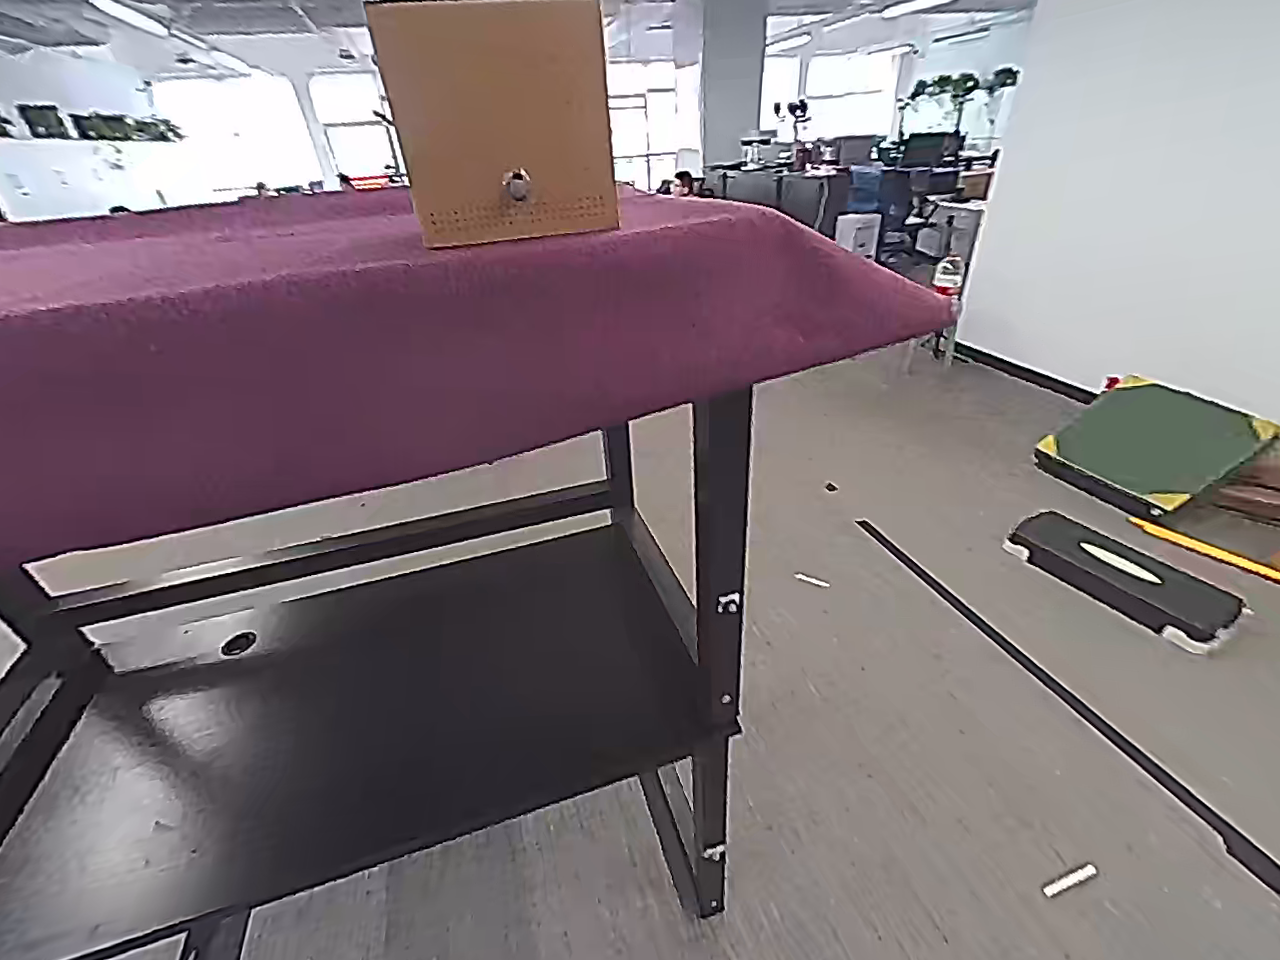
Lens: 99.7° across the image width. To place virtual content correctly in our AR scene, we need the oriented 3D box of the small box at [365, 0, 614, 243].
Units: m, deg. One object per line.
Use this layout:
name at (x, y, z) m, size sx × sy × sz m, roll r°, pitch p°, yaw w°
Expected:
small box at (-0.123, -0.327, 0.500) m, size 0.179 × 0.176 × 0.168 m, roll -11°, pitch 32°, yaw -9°
